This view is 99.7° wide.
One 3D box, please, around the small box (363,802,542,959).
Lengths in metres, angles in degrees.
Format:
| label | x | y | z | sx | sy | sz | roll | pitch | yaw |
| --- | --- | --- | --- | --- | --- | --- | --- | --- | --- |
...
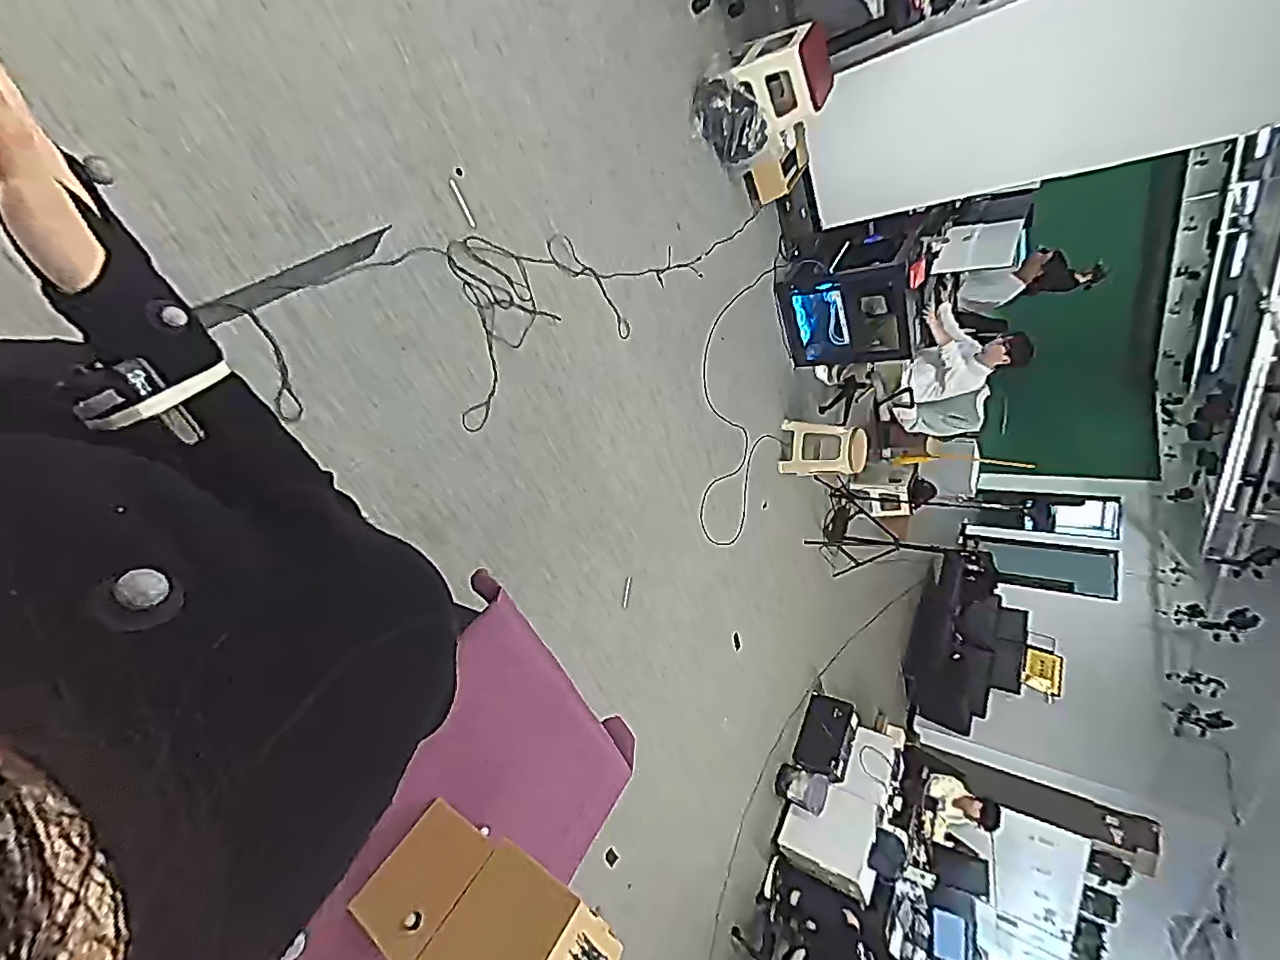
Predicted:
| label | x | y | z | sx | sy | sz | roll | pitch | yaw |
| --- | --- | --- | --- | --- | --- | --- | --- | --- | --- |
| small box | -0.293 | 0.649 | 0.834 | 0.179 | 0.176 | 0.168 | -47 | 128 | -38 |

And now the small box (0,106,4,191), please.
| label | x | y | z | sx | sy | sz | roll | pitch | yaw |
| --- | --- | --- | --- | --- | --- | --- | --- | --- | --- |
| small box | -0.371 | -0.202 | 0.183 | 0.179 | 0.176 | 0.168 | -20 | 113 | -47 |
